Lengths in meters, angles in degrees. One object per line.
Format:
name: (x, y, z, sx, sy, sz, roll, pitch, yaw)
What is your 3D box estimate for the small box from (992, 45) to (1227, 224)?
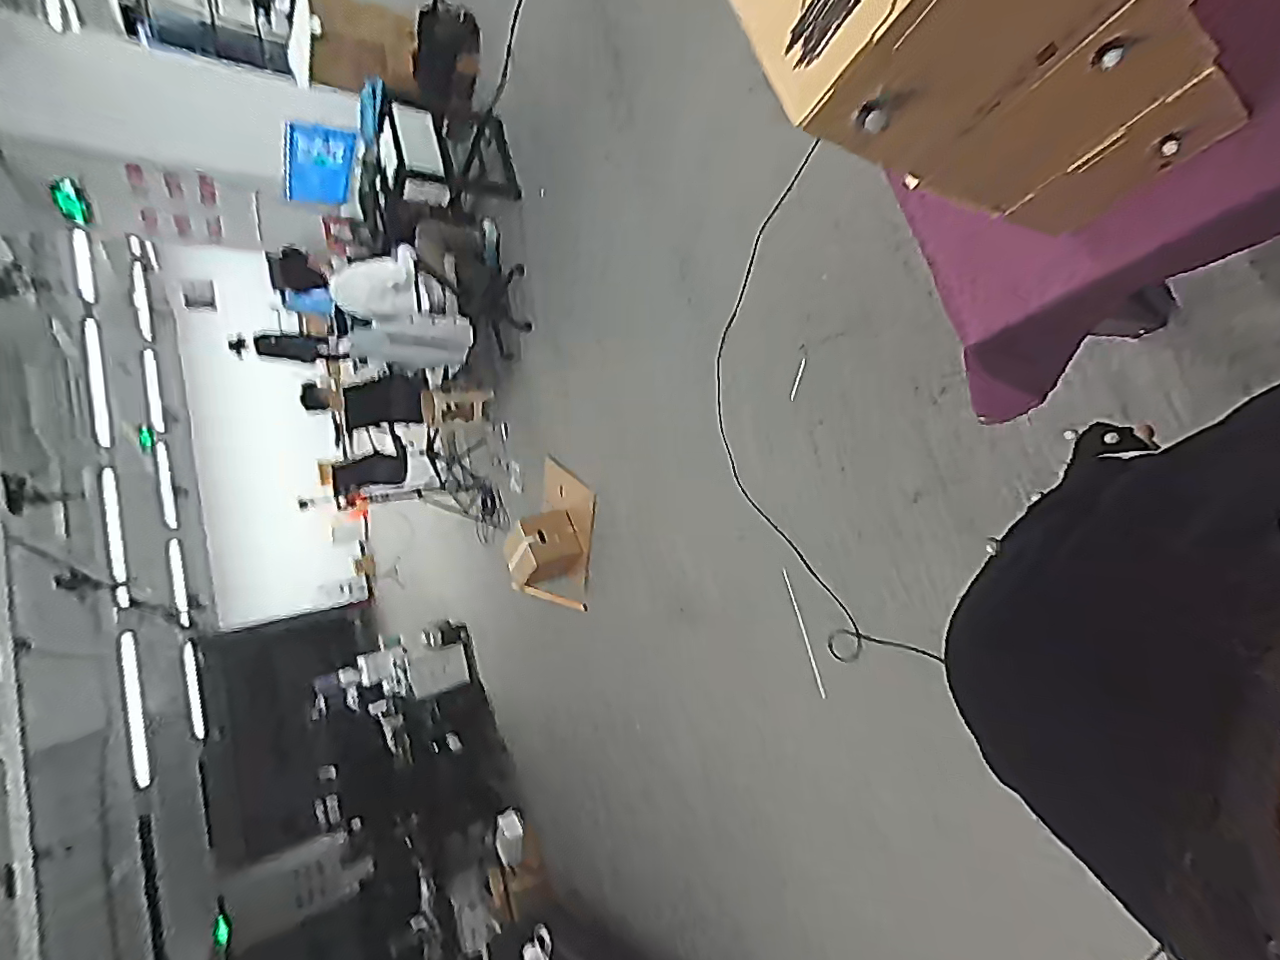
small box: (0.450, -0.393, 0.561, 0.168, 0.176, 0.179, -34, 70, 51)

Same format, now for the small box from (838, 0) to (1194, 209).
small box: (0.318, -0.370, 0.471, 0.179, 0.176, 0.168, -36, 68, 50)
